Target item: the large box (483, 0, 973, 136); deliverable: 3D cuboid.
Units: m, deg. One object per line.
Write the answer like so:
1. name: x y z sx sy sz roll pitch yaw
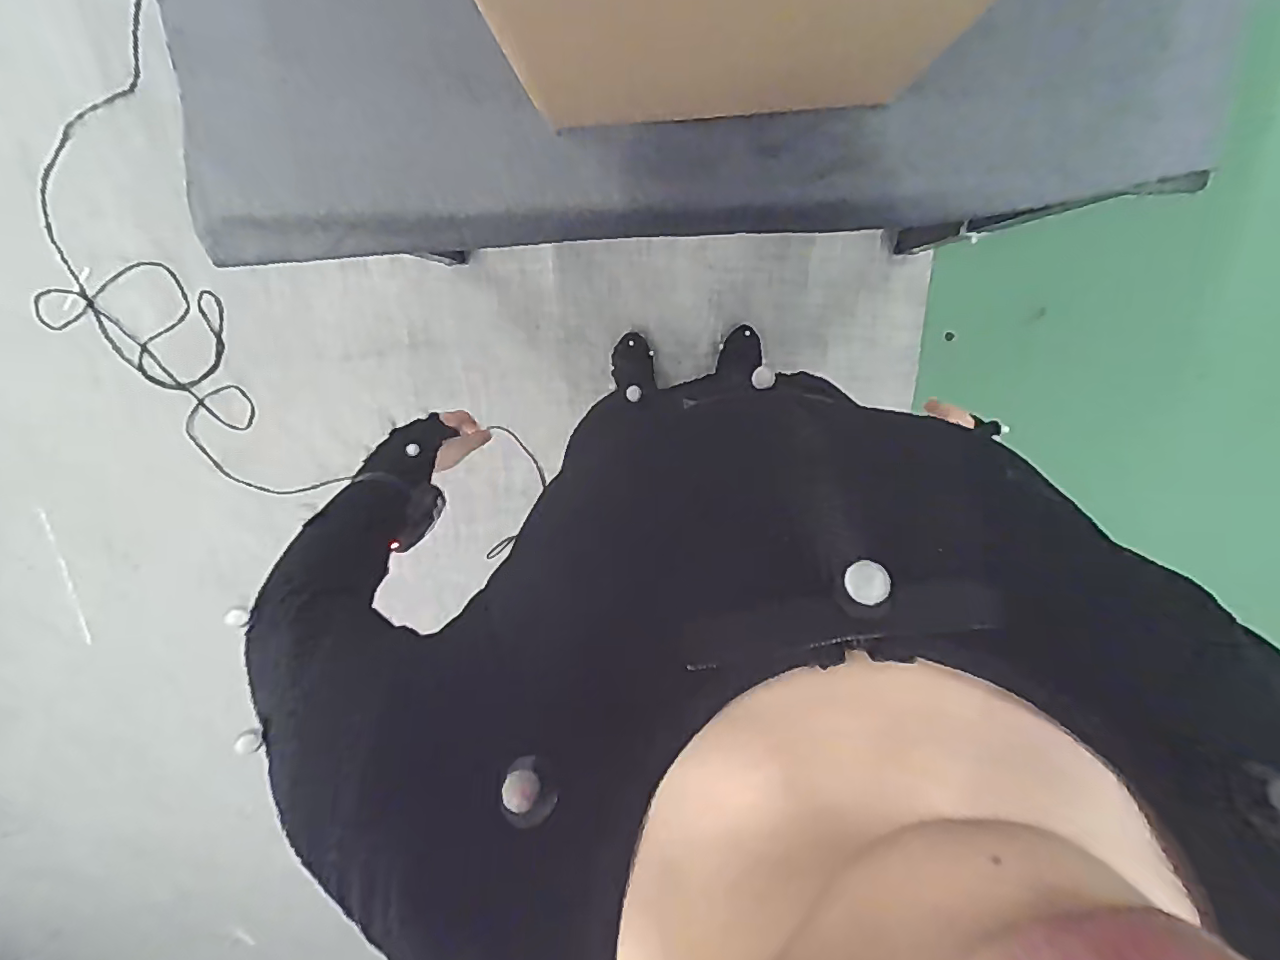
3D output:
1. large box: 0.070 -0.536 0.462 0.408 0.320 0.320 -4 106 3
